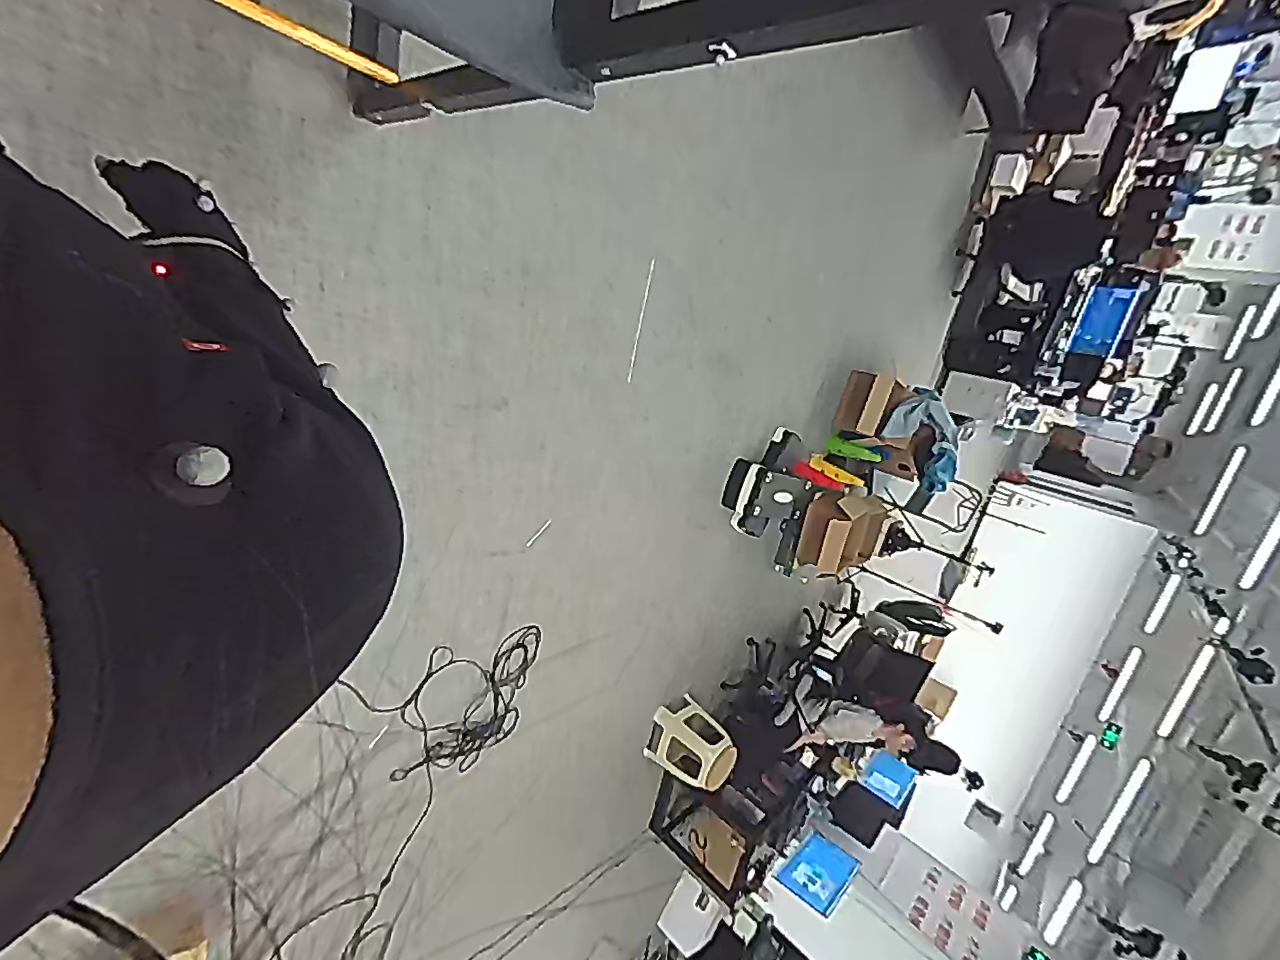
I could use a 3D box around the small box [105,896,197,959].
[{"bbox_3d":[-1.315,1.288,1.453,0.168,0.176,0.179,-3,112,-49],"label":"small box"}]
